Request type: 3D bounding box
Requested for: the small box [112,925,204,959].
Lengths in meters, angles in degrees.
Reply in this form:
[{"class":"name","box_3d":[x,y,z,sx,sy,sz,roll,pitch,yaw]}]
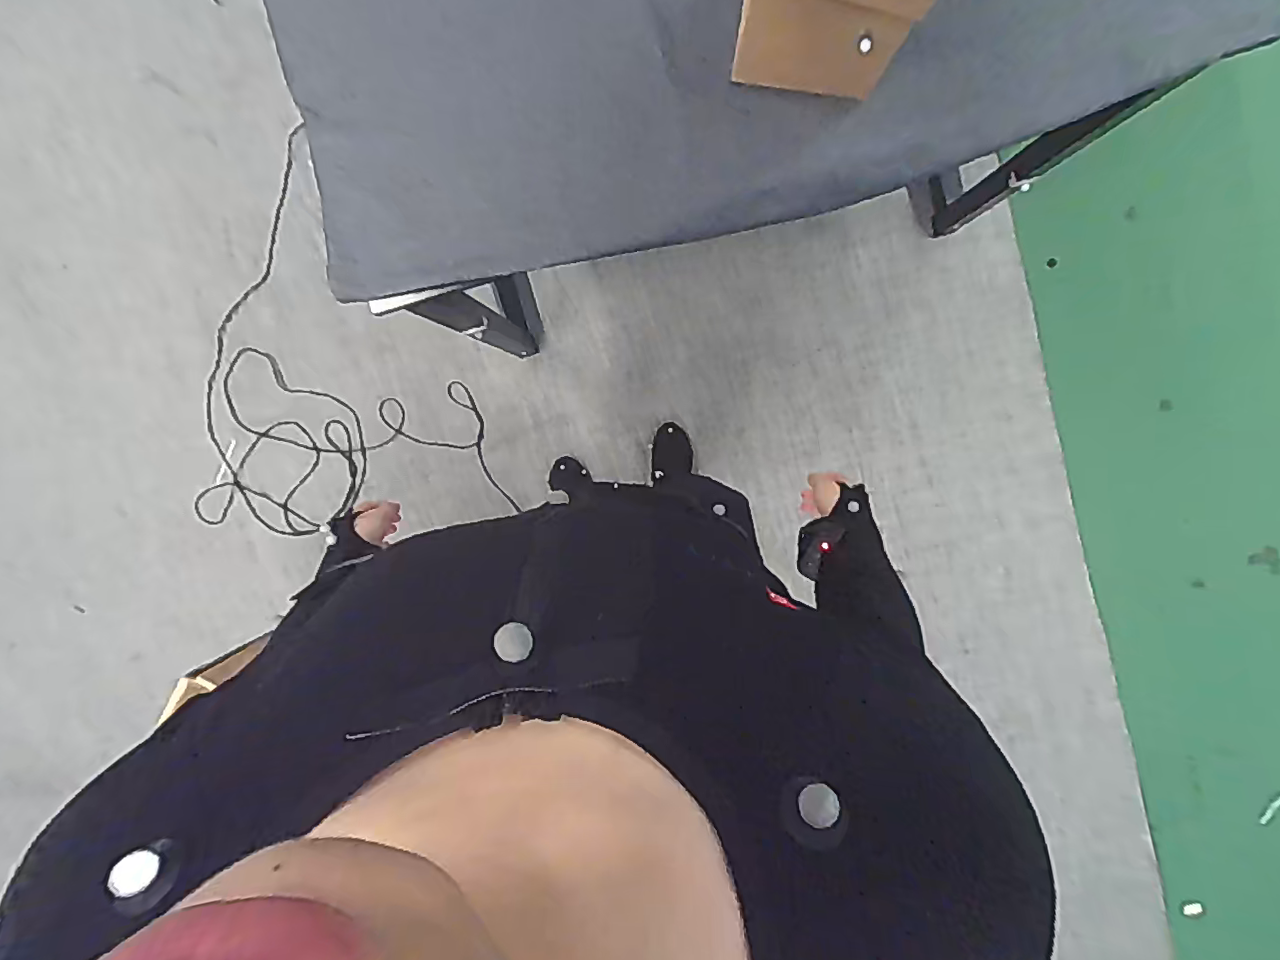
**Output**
[{"class":"small box","box_3d":[-0.699,0.757,0.709,0.179,0.176,0.168,-43,96,4]}]
